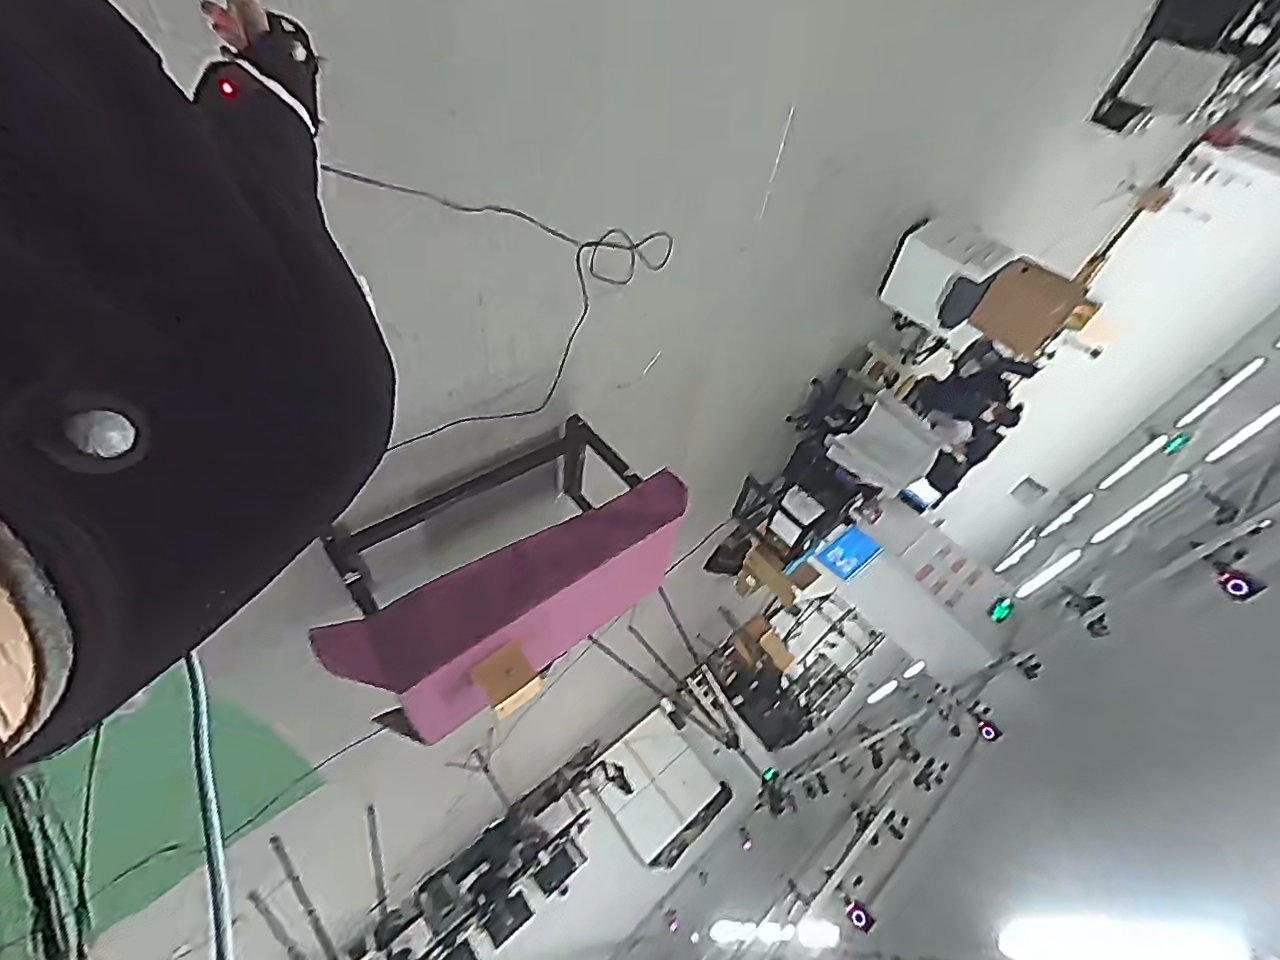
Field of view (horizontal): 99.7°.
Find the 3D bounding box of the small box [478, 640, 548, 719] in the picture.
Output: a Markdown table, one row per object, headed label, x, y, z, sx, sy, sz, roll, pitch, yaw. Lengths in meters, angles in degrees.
| label | x | y | z | sx | sy | sz | roll | pitch | yaw |
| --- | --- | --- | --- | --- | --- | --- | --- | --- | --- |
| small box | -0.446 | 0.701 | 1.911 | 0.179 | 0.176 | 0.168 | -32 | 152 | -27 |
